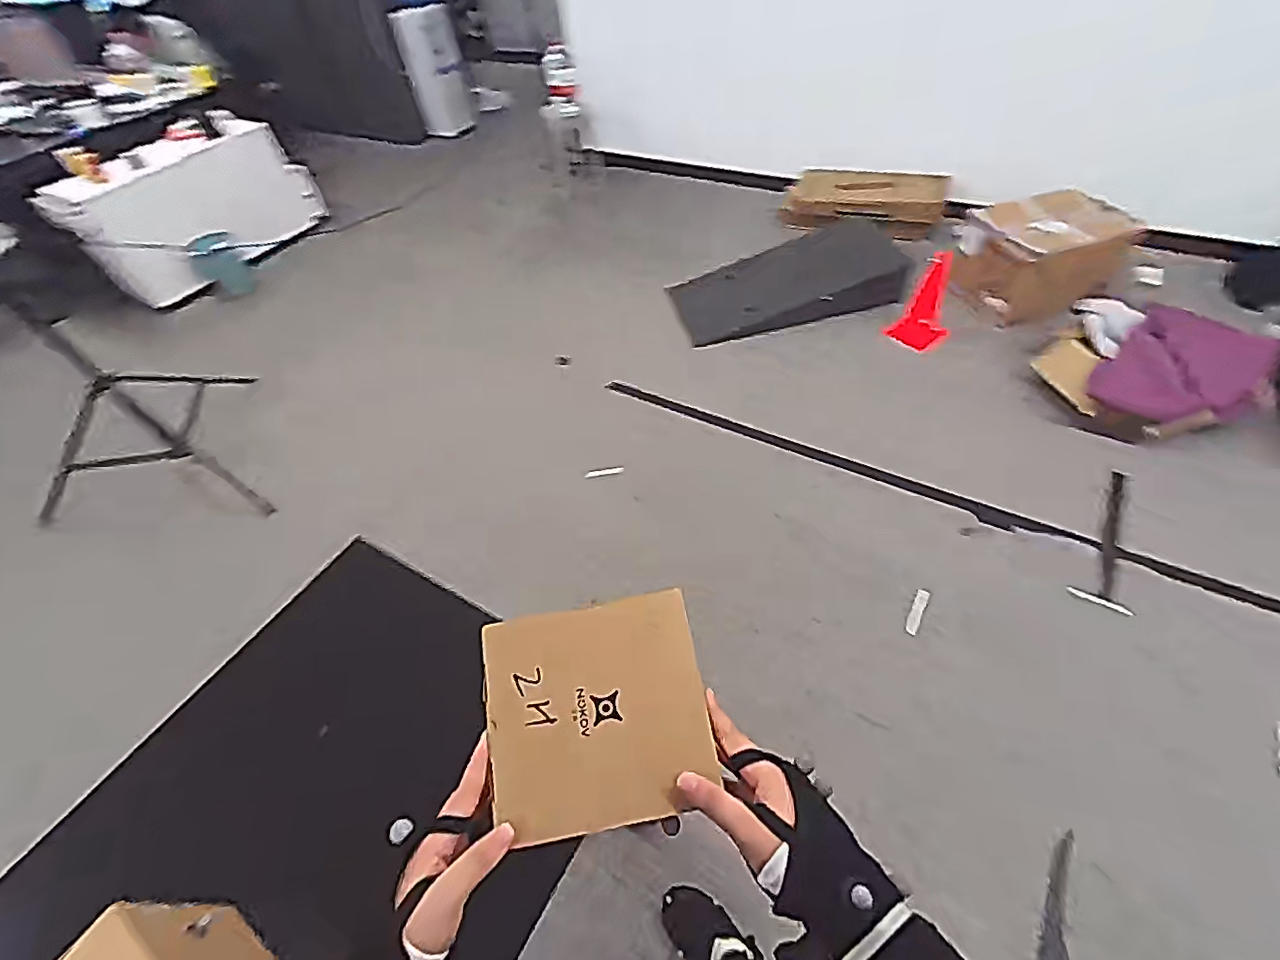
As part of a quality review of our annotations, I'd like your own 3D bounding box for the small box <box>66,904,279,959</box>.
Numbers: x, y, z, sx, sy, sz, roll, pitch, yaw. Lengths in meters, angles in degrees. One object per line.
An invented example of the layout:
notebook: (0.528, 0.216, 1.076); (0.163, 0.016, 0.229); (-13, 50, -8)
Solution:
small box: (-0.449, 0.533, 0.494); (0.179, 0.176, 0.168); (22, 57, 22)
